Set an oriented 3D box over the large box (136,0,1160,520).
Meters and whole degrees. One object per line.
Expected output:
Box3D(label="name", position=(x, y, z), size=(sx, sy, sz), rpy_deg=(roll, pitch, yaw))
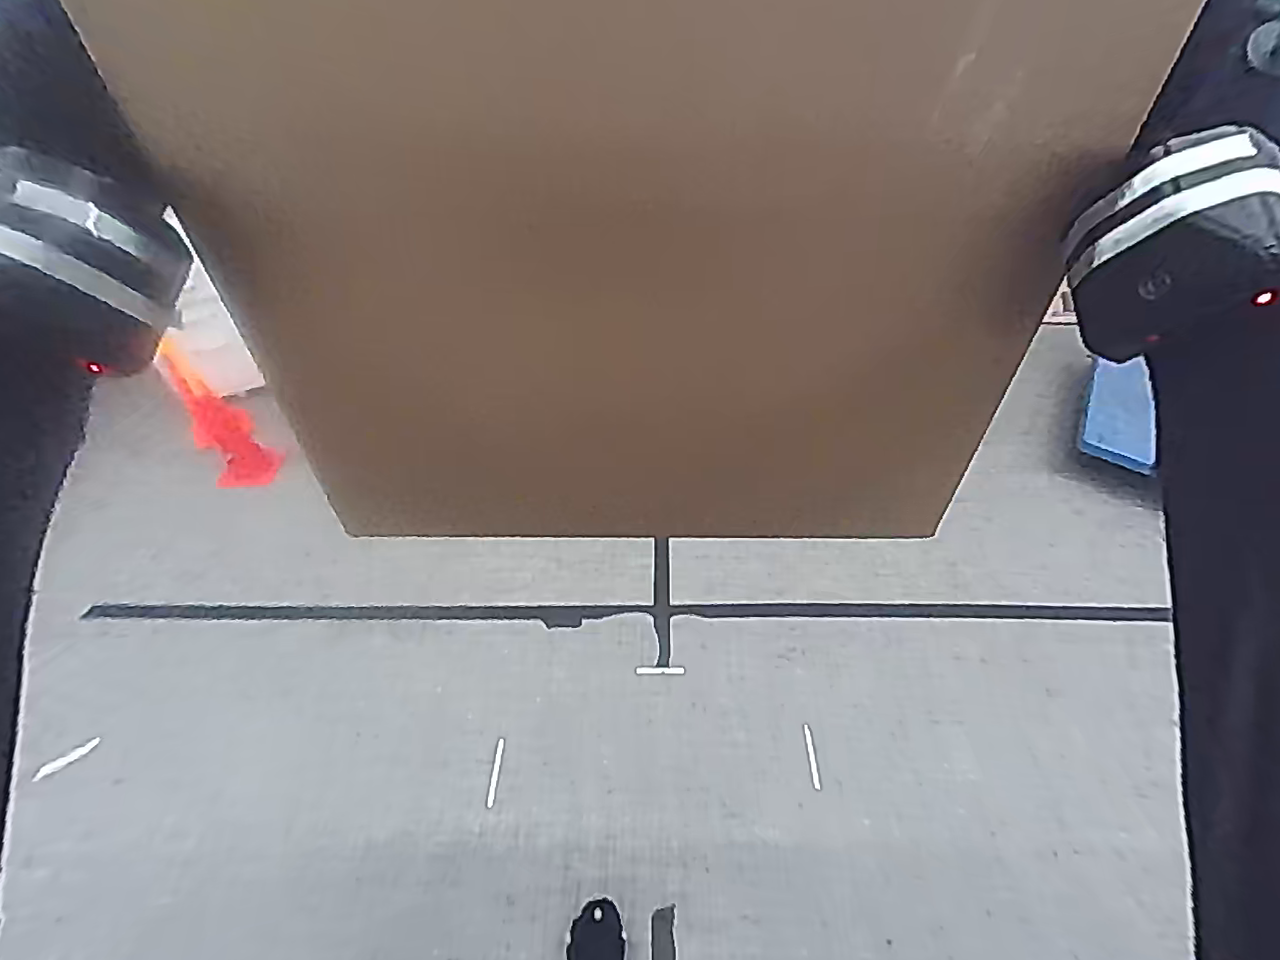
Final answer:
Box3D(label="large box", position=(0.001, -0.181, 0.400), size=(0.408, 0.320, 0.320), rpy_deg=(1, 42, 0))
